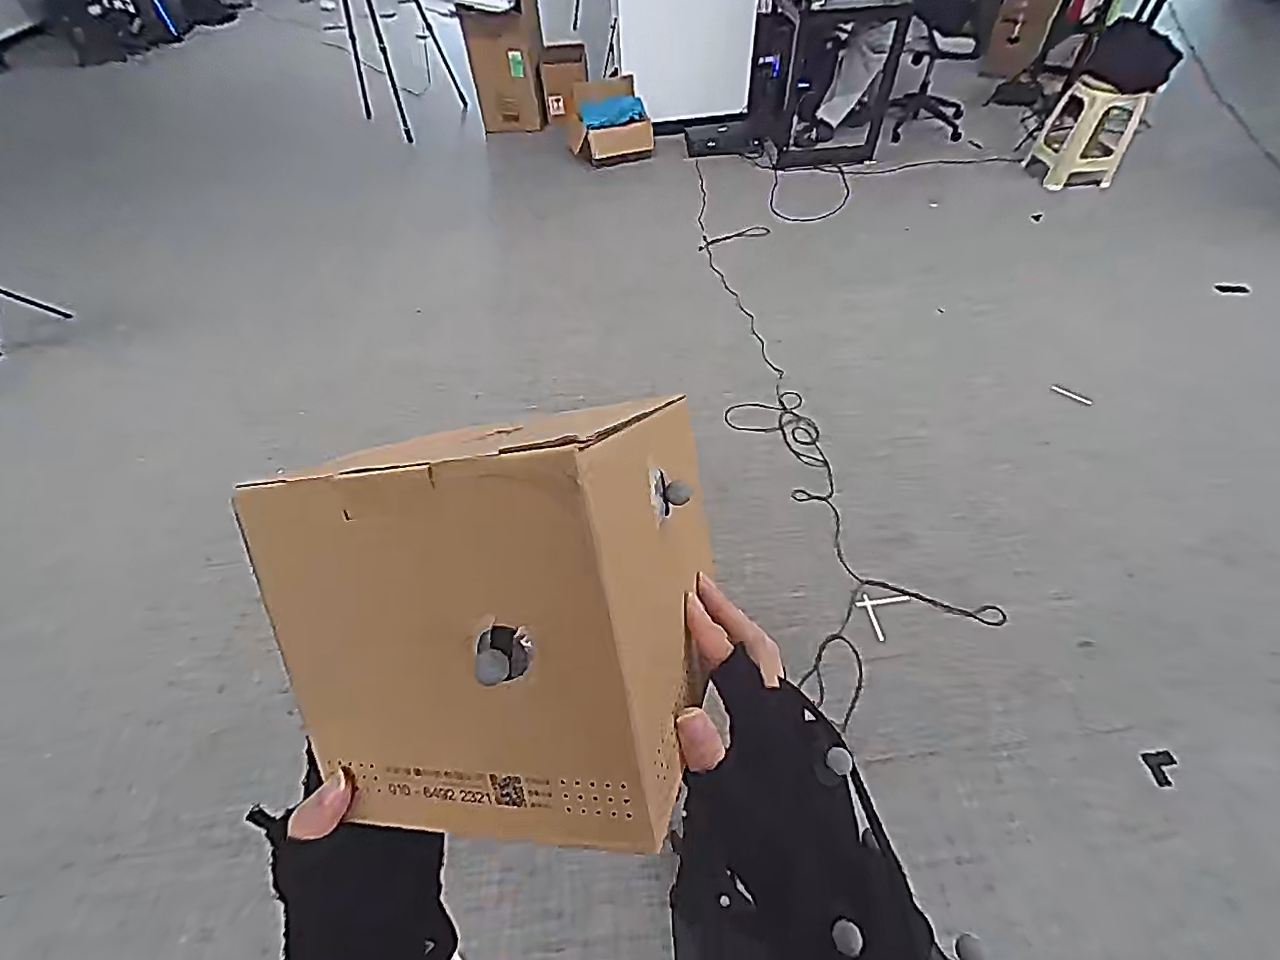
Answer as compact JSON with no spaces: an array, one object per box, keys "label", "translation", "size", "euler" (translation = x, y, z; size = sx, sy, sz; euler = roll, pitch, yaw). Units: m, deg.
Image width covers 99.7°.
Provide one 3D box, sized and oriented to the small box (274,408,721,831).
[{"label":"small box","translation":[-0.054,0.062,0.314],"size":[0.168,0.176,0.179],"euler":[-6,12,20]}]
